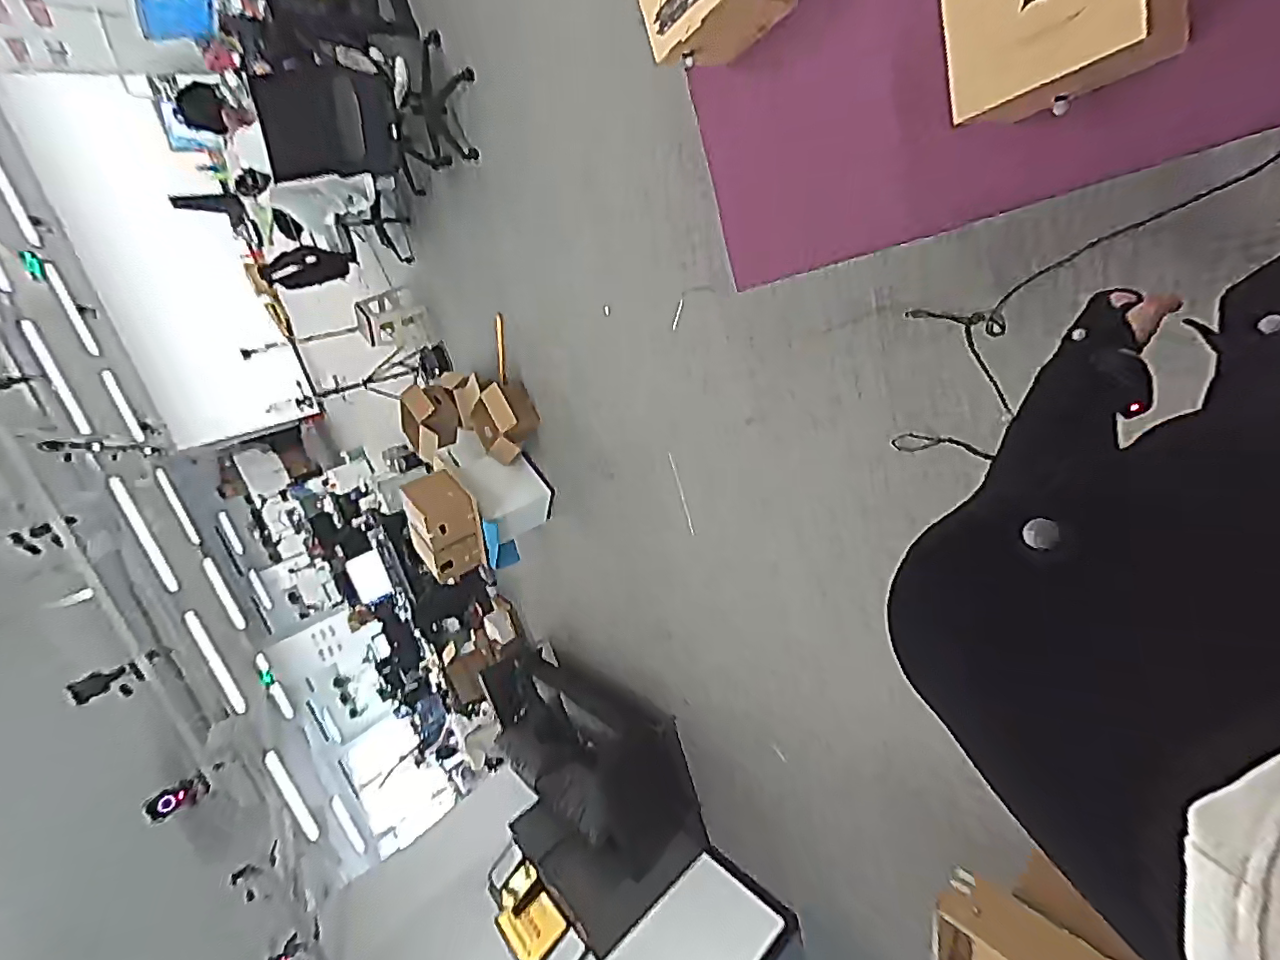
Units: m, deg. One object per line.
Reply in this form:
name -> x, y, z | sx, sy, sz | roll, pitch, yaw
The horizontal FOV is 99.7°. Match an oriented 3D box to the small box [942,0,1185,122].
small box -> 0.439, -0.502, 0.563 | 0.168, 0.176, 0.179 | 6, 116, 53
